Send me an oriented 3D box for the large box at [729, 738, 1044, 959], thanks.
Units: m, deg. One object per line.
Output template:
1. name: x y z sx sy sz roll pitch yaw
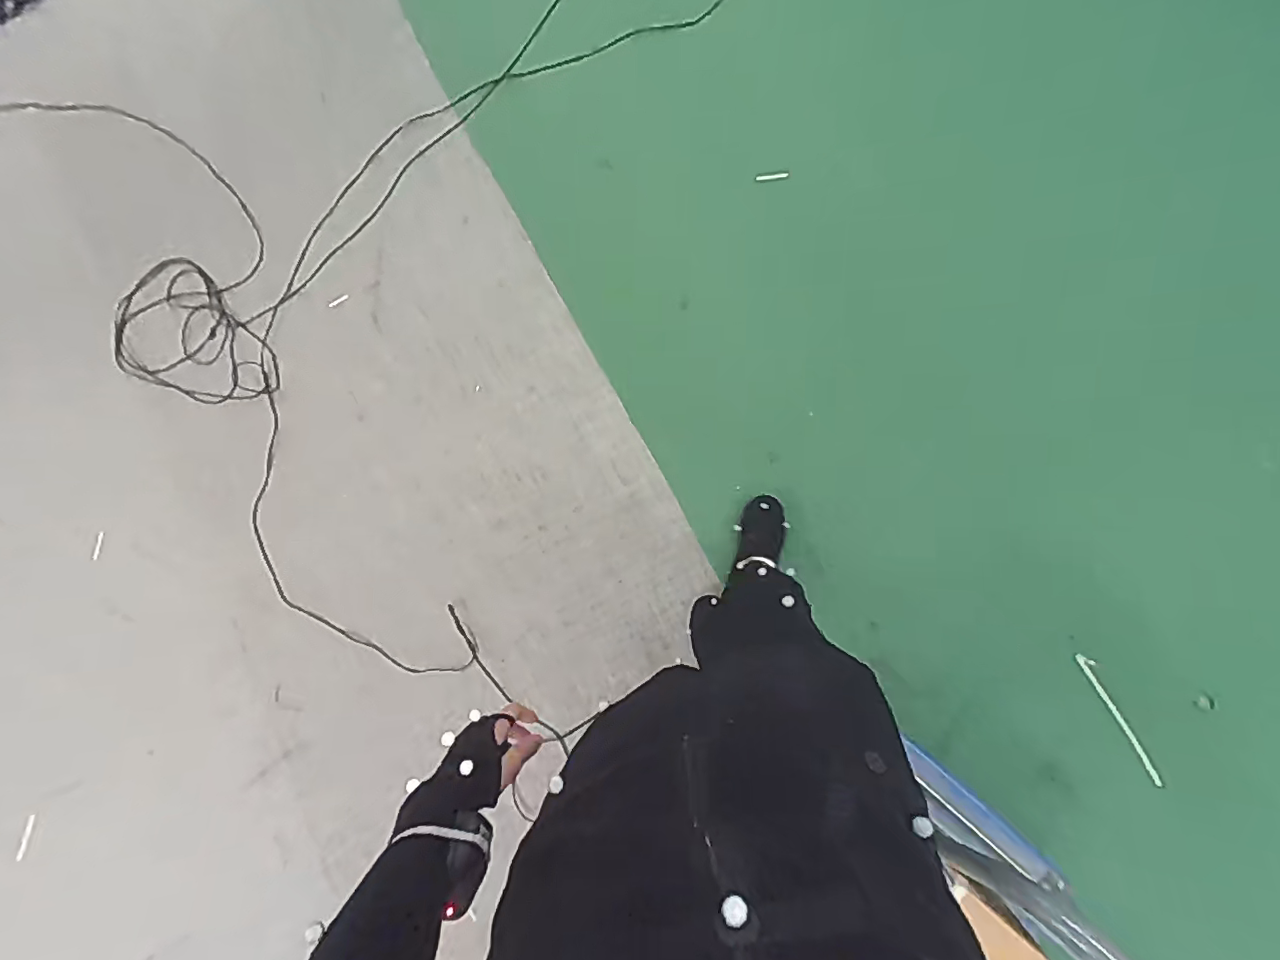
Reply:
1. large box: 0.407 0.784 1.002 0.320 0.320 0.408 39 91 11
